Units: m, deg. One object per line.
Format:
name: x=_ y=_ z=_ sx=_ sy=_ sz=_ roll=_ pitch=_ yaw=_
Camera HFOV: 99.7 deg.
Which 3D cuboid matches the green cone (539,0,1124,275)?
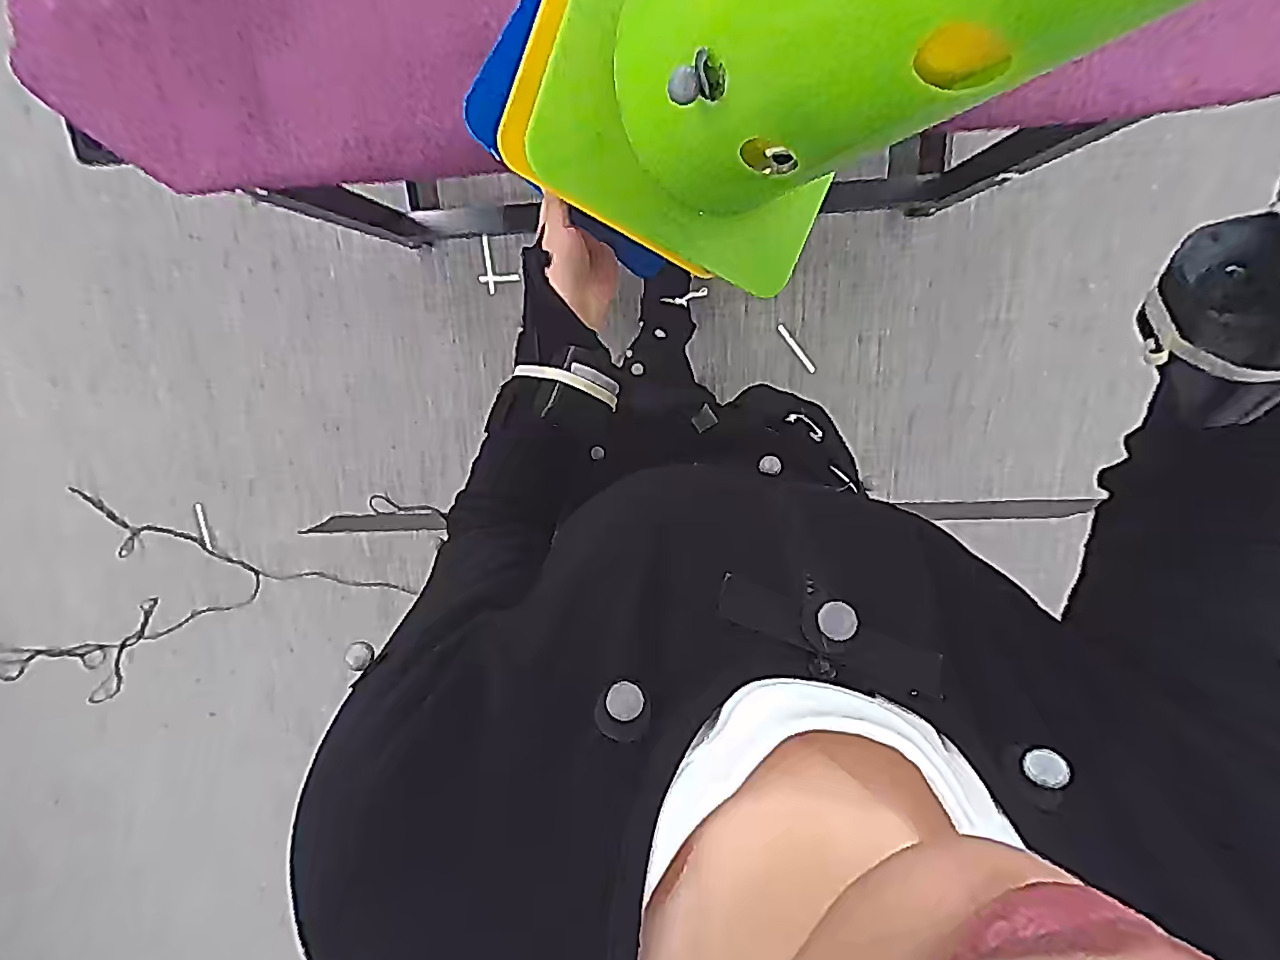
green cone: x=0.120 y=-0.189 z=0.168 sx=0.200 sy=0.368 sz=0.202 roll=15 pitch=104 yaw=-27
